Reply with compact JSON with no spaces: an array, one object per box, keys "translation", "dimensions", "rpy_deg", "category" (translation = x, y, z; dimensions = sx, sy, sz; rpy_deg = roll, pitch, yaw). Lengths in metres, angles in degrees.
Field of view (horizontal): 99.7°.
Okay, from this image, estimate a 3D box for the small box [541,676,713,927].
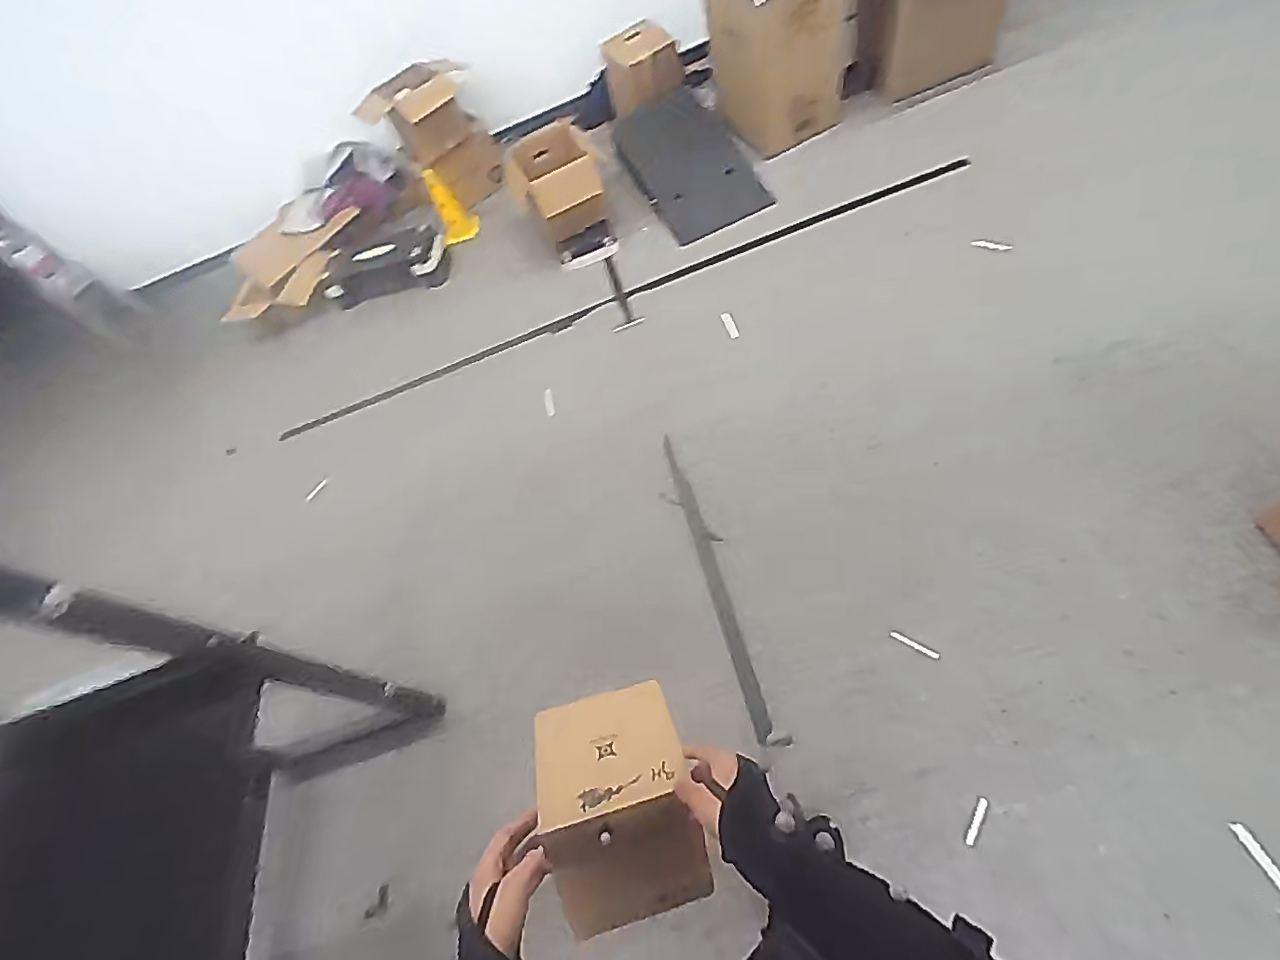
[{"translation":[-0.020,0.376,0.654],"dimensions":[0.168,0.176,0.179],"rpy_deg":[-13,20,-6],"category":"small box"}]
